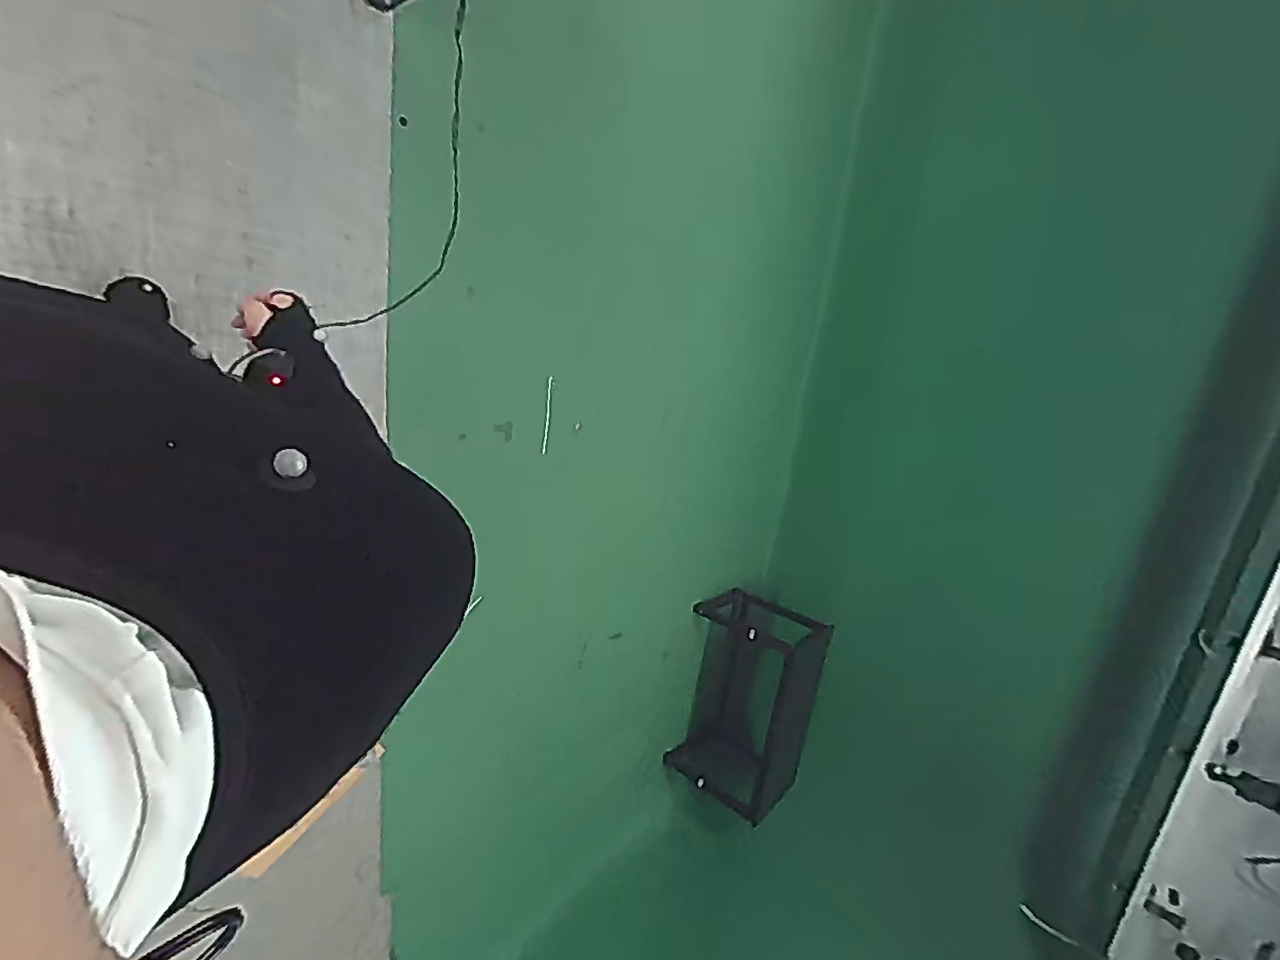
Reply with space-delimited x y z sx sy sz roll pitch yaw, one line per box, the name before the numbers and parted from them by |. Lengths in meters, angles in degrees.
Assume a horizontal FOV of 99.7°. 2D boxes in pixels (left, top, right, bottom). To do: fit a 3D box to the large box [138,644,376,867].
large box | -1.063 0.758 1.529 0.408 0.320 0.320 -46 137 -32
